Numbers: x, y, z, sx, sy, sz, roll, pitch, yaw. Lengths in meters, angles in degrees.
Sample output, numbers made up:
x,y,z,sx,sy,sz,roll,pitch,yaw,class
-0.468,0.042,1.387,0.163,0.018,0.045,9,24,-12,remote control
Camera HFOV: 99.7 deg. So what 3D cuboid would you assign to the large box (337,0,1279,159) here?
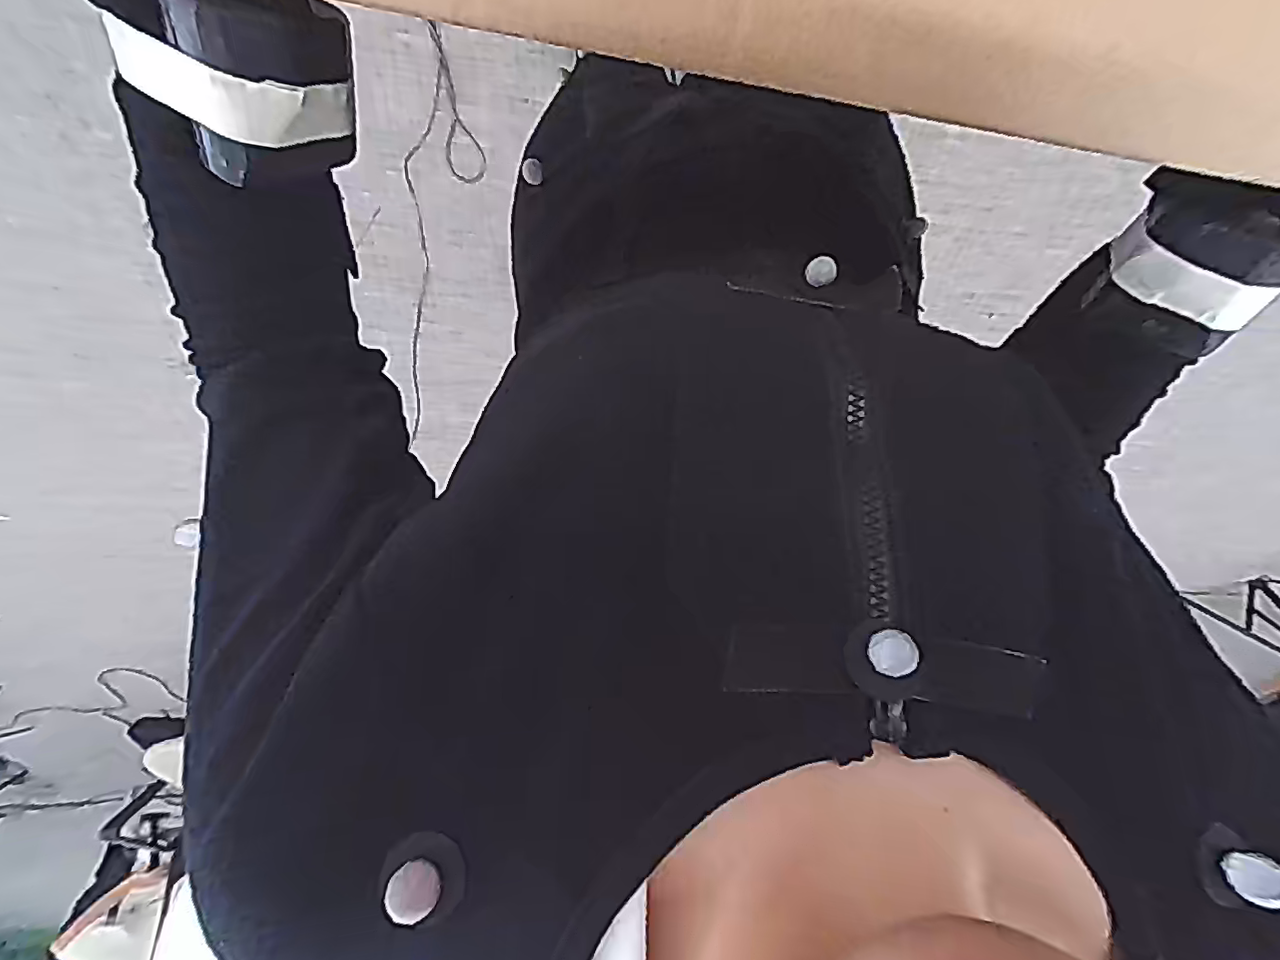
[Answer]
x,y,z,sx,sy,sz,roll,pitch,yaw,class
0.090,-0.355,0.153,0.408,0.320,0.320,5,148,-7,large box
